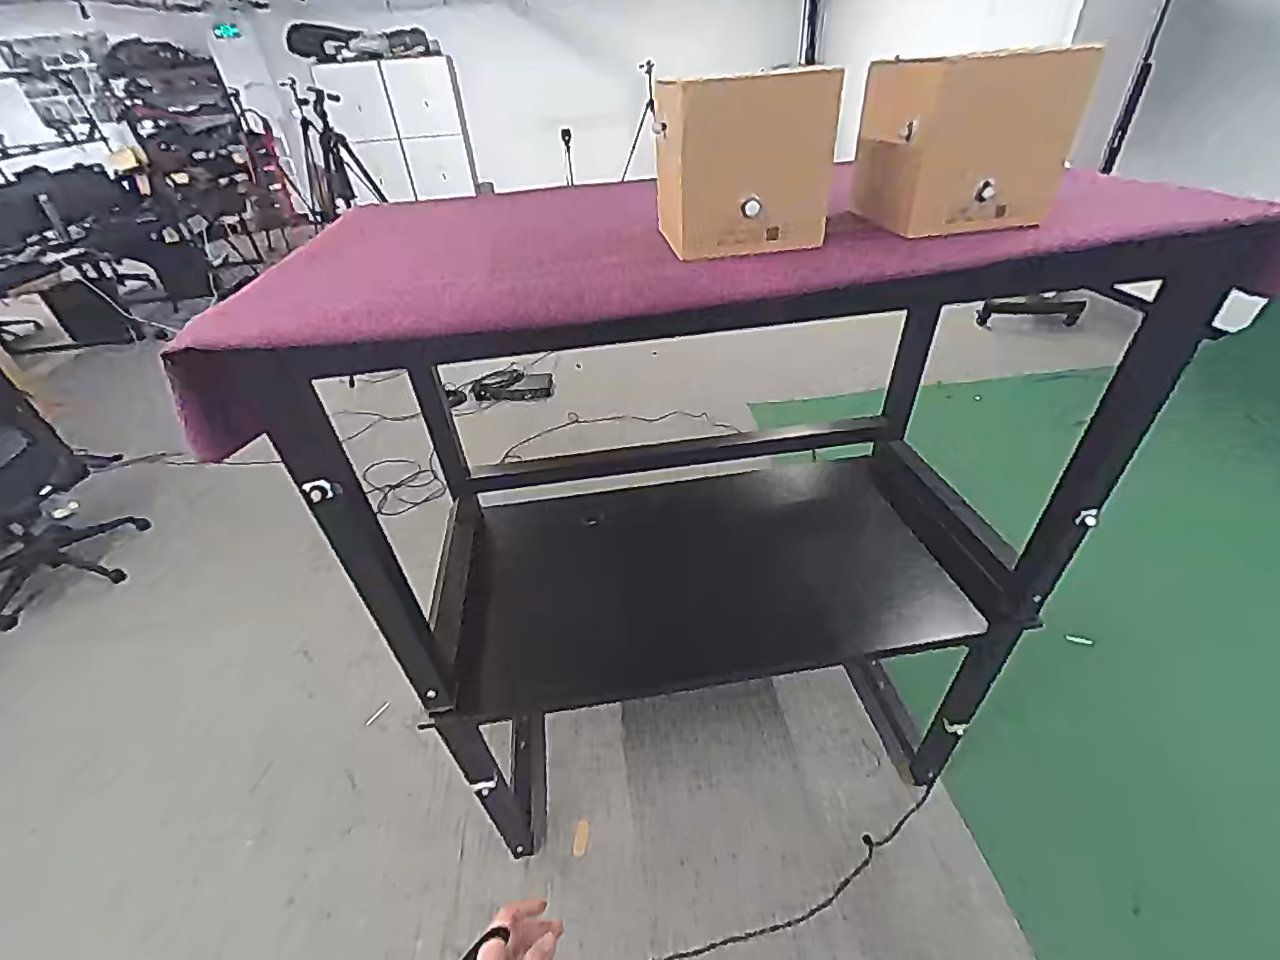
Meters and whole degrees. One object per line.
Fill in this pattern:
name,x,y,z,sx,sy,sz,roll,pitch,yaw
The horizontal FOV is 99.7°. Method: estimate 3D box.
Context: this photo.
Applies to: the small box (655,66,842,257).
small box,0.110,-0.370,0.631,0.168,0.176,0.179,-7,37,-3
